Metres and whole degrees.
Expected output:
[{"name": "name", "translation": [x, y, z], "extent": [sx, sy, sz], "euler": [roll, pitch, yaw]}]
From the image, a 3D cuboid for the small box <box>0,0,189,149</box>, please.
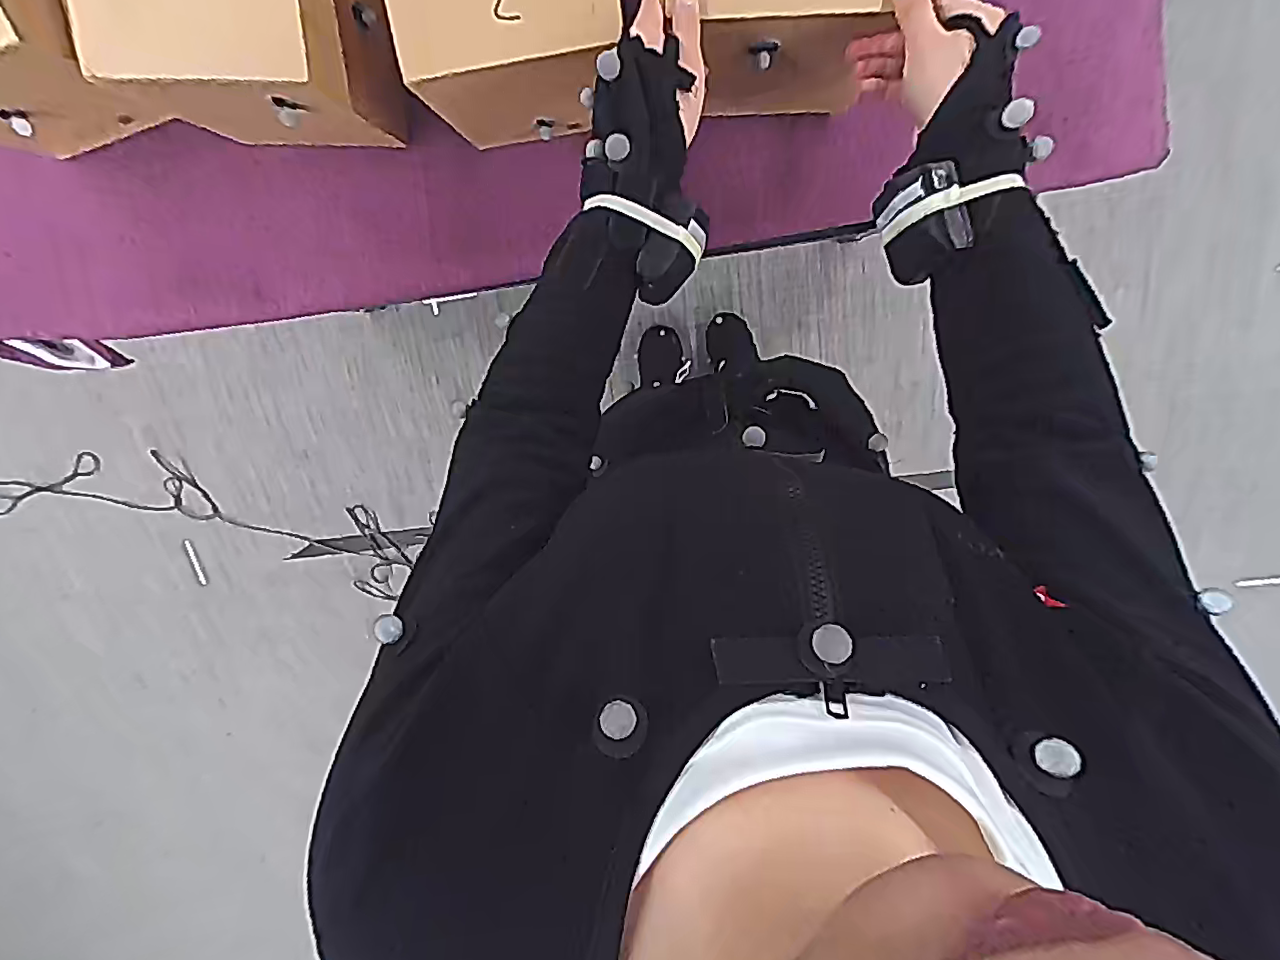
[{"name": "small box", "translation": [-0.552, -0.409, 0.461], "extent": [0.168, 0.176, 0.179], "euler": [-15, 107, 7]}]
